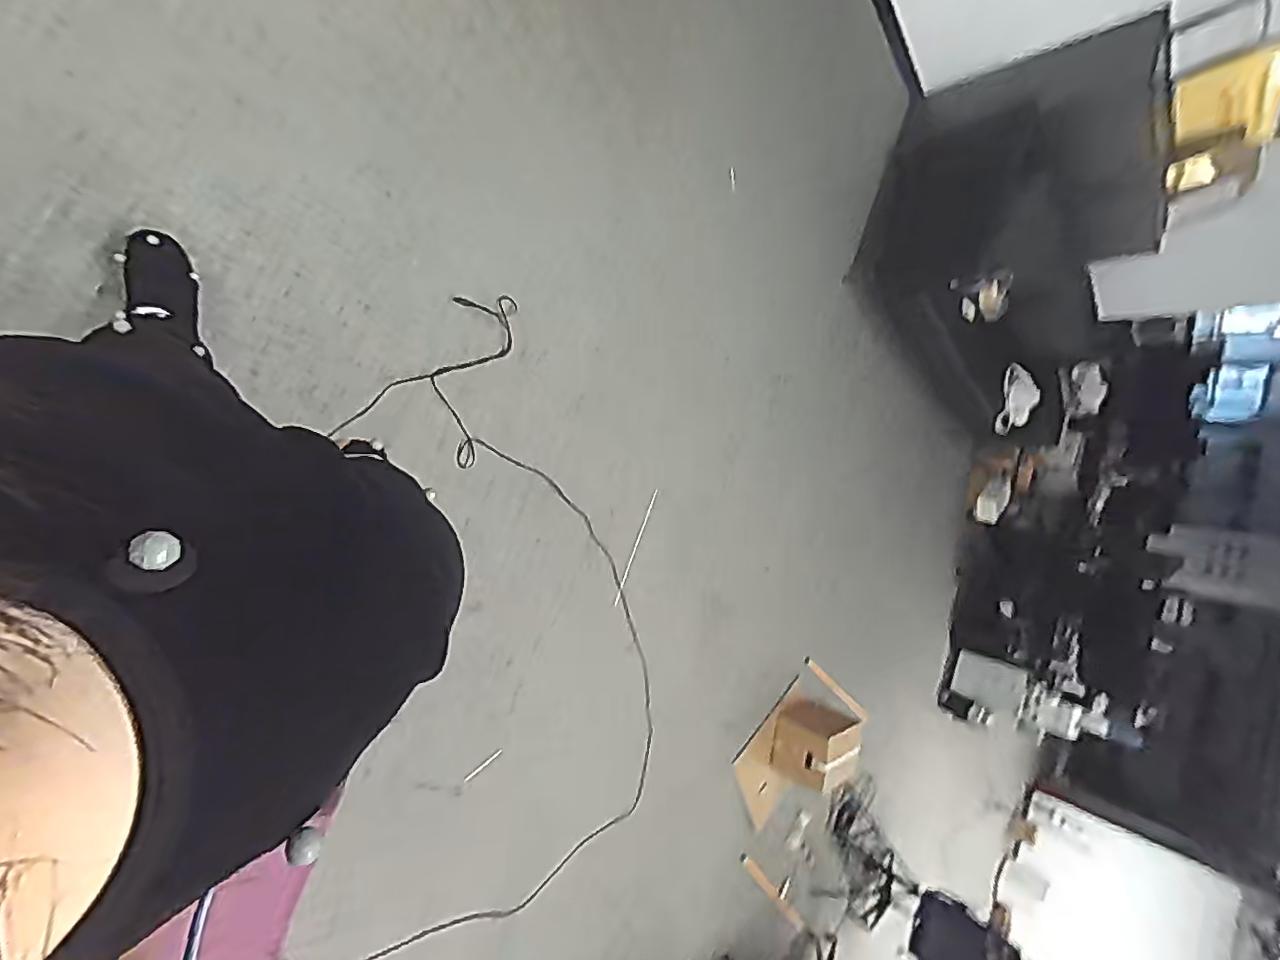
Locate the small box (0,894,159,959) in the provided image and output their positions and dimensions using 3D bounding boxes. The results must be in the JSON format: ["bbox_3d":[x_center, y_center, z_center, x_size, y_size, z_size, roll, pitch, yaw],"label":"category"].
[{"bbox_3d":[-0.600,0.541,0.519,0.168,0.176,0.179,25,81,-42],"label":"small box"}]
